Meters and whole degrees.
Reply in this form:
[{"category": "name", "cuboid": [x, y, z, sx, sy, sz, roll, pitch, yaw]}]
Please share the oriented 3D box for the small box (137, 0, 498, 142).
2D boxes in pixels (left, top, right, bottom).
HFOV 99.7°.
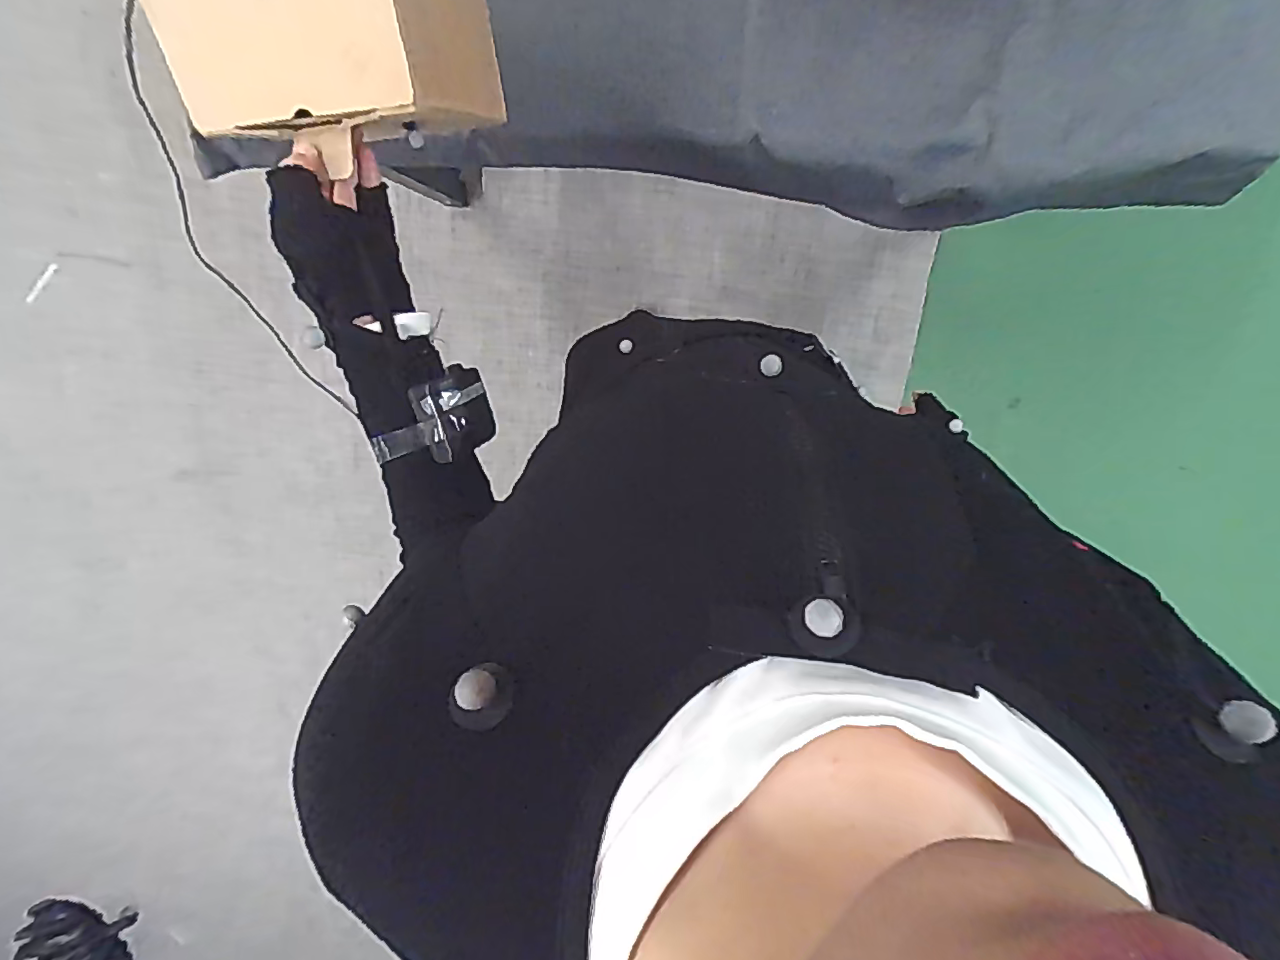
[{"category": "small box", "cuboid": [-0.216, -0.345, 0.379, 0.168, 0.176, 0.179, -1, 119, 9]}]
